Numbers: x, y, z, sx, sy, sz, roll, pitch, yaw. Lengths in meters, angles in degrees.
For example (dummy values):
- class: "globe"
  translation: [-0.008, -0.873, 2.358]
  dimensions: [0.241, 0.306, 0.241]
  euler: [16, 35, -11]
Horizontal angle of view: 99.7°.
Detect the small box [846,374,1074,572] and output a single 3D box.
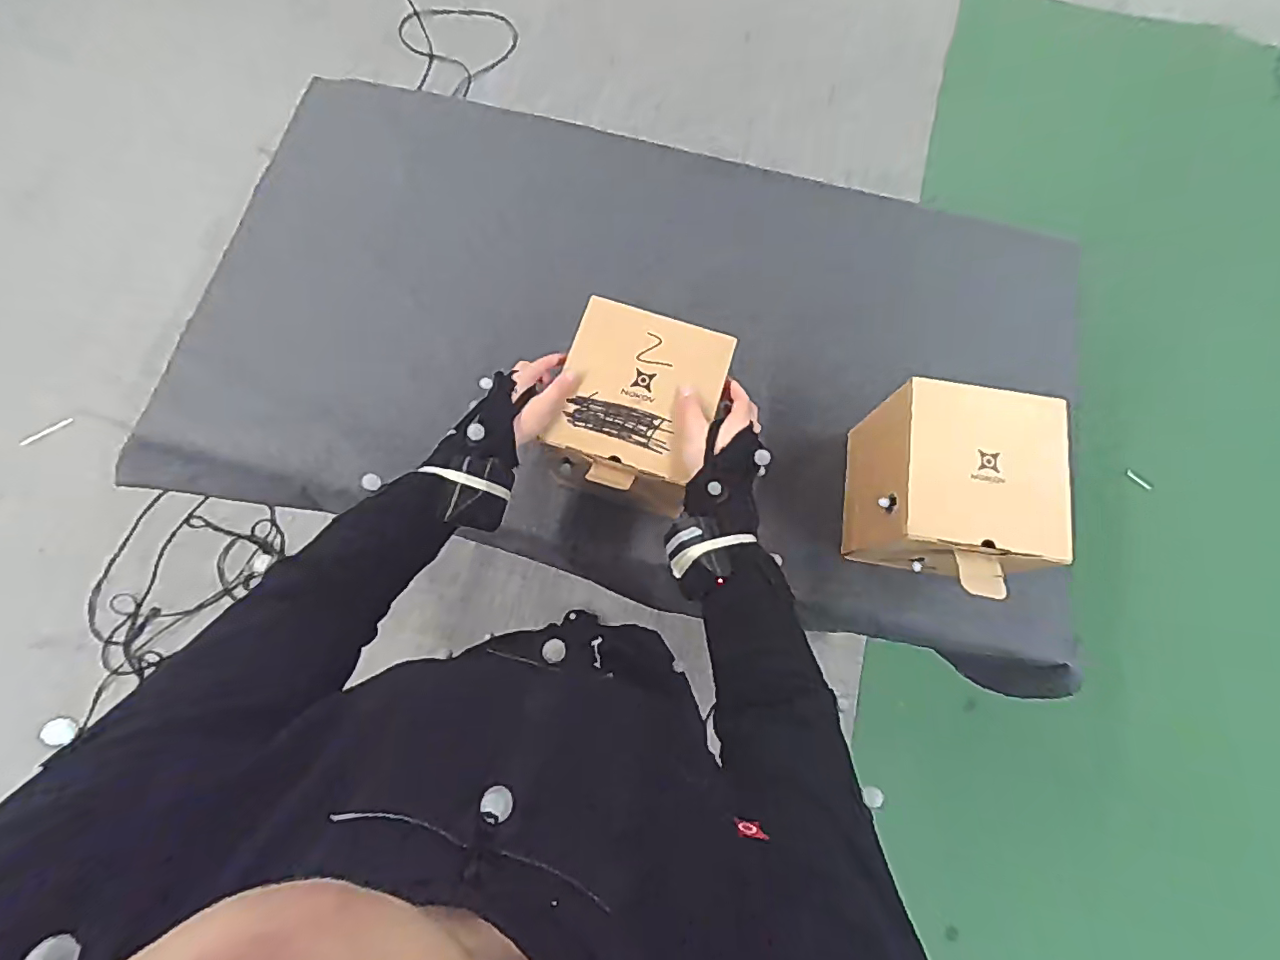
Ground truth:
- class: "small box"
  translation: [0.352, 0.002, 0.625]
  dimensions: [0.168, 0.176, 0.179]
  euler: [9, 76, 1]
